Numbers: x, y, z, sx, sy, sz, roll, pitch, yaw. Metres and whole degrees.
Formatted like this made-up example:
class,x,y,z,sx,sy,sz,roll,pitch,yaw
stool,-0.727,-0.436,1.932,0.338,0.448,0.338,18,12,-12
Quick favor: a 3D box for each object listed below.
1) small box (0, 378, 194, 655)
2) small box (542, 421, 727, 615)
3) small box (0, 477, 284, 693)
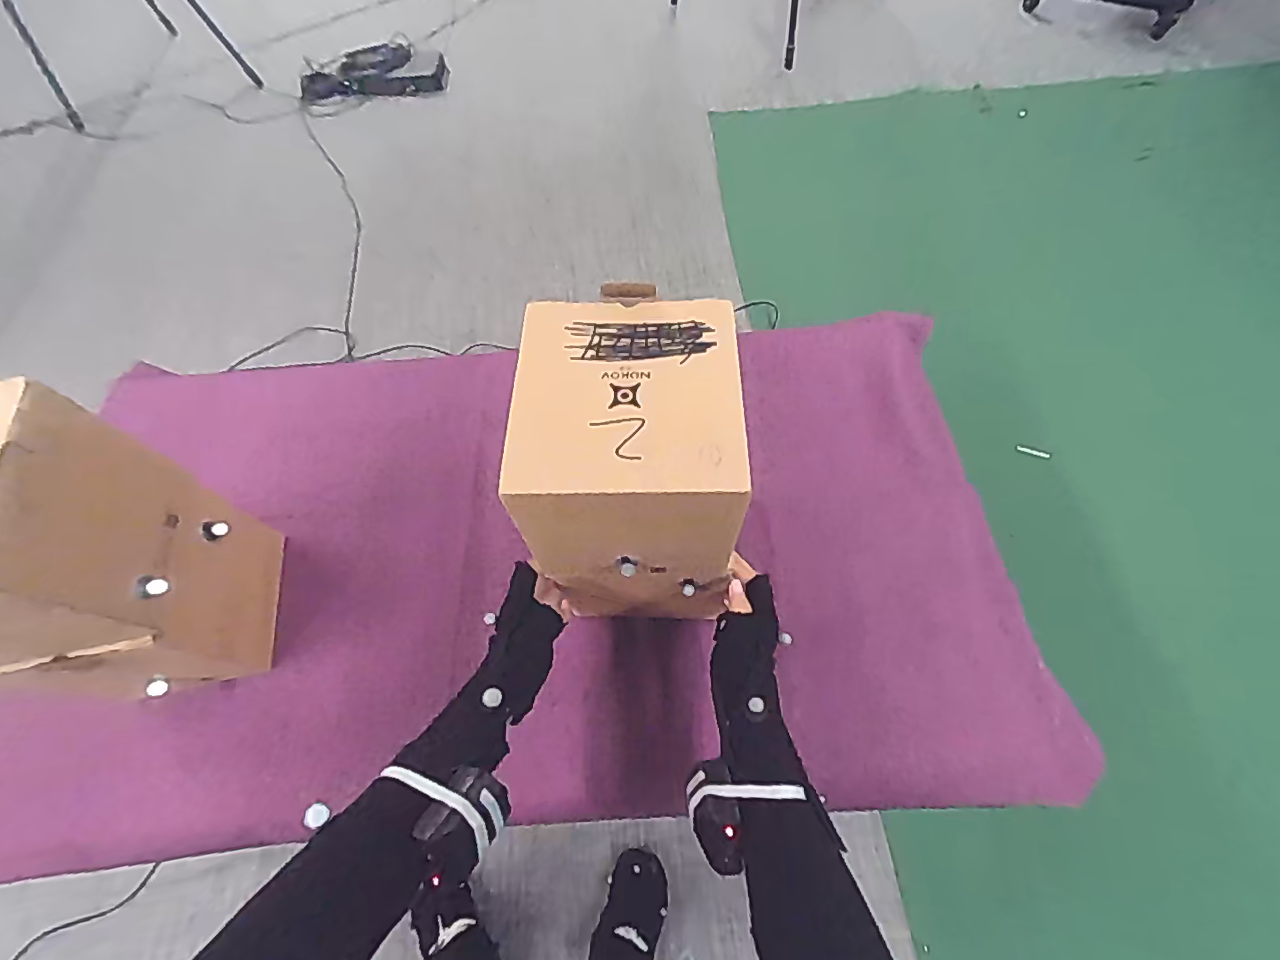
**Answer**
class,x,y,z,sx,sy,sz,roll,pitch,yaw
small box,-0.531,0.041,0.450,0.179,0.176,0.168,-9,61,-2
small box,0.002,0.049,0.605,0.179,0.176,0.168,0,61,3
small box,-0.530,0.122,0.597,0.168,0.176,0.179,-11,63,-2
